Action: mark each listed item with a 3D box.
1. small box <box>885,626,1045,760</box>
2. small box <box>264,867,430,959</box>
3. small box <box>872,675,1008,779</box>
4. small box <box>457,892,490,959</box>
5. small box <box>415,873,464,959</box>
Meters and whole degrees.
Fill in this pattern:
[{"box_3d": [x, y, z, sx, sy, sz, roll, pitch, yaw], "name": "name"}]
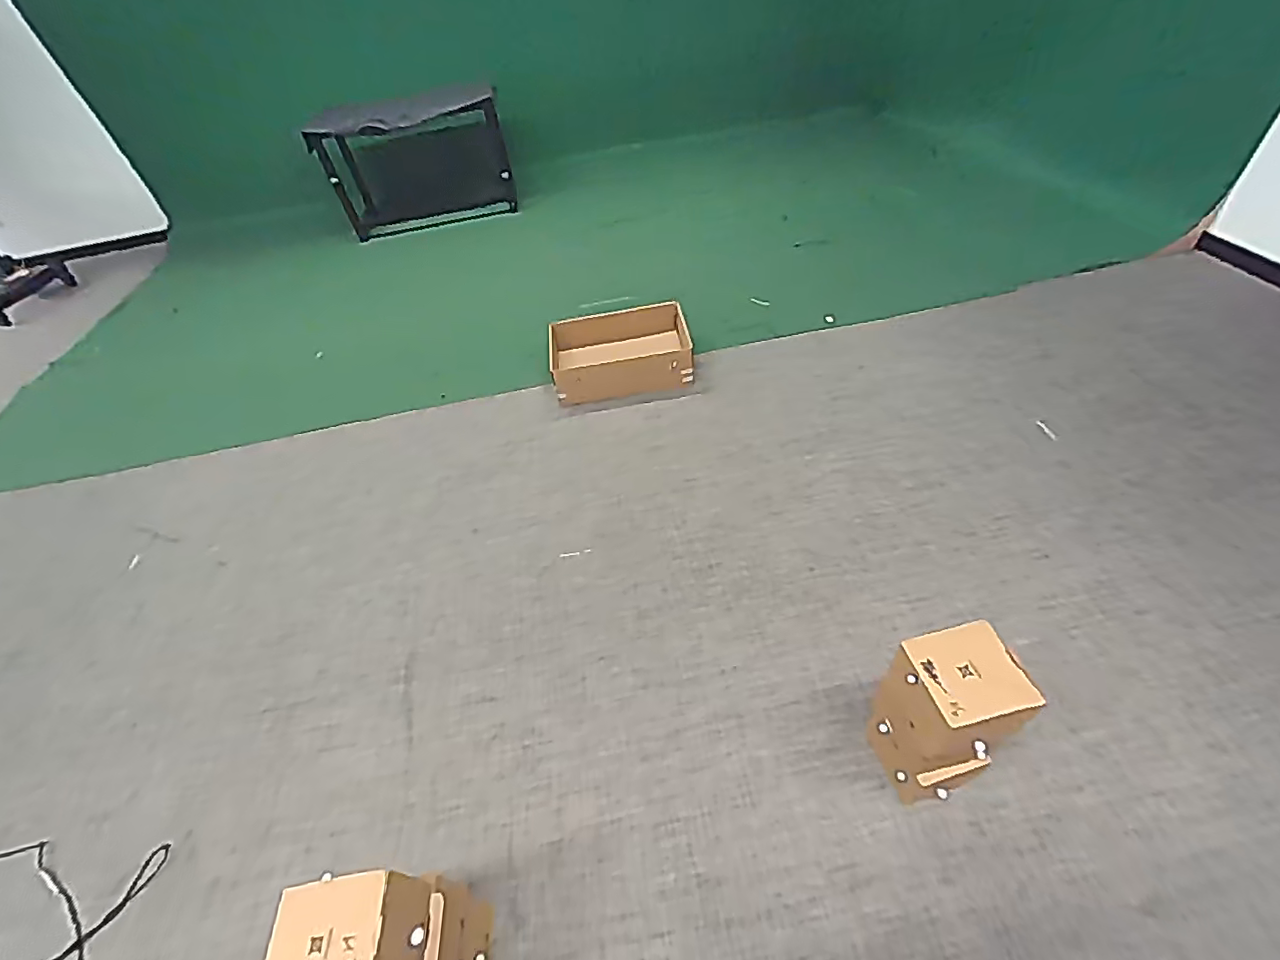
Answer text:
[{"box_3d": [0.598, 0.405, 1.023, 0.179, 0.176, 0.168, -12, 46, -3], "name": "small box"}, {"box_3d": [-0.464, 0.743, 0.865, 0.179, 0.176, 0.168, -10, 47, 1], "name": "small box"}, {"box_3d": [0.621, 0.510, 1.147, 0.179, 0.176, 0.168, -13, 46, -2], "name": "small box"}, {"box_3d": [-0.418, 0.963, 1.104, 0.179, 0.176, 0.168, -10, 46, 0], "name": "small box"}, {"box_3d": [-0.440, 0.844, 0.993, 0.179, 0.176, 0.168, -11, 46, 1], "name": "small box"}]
